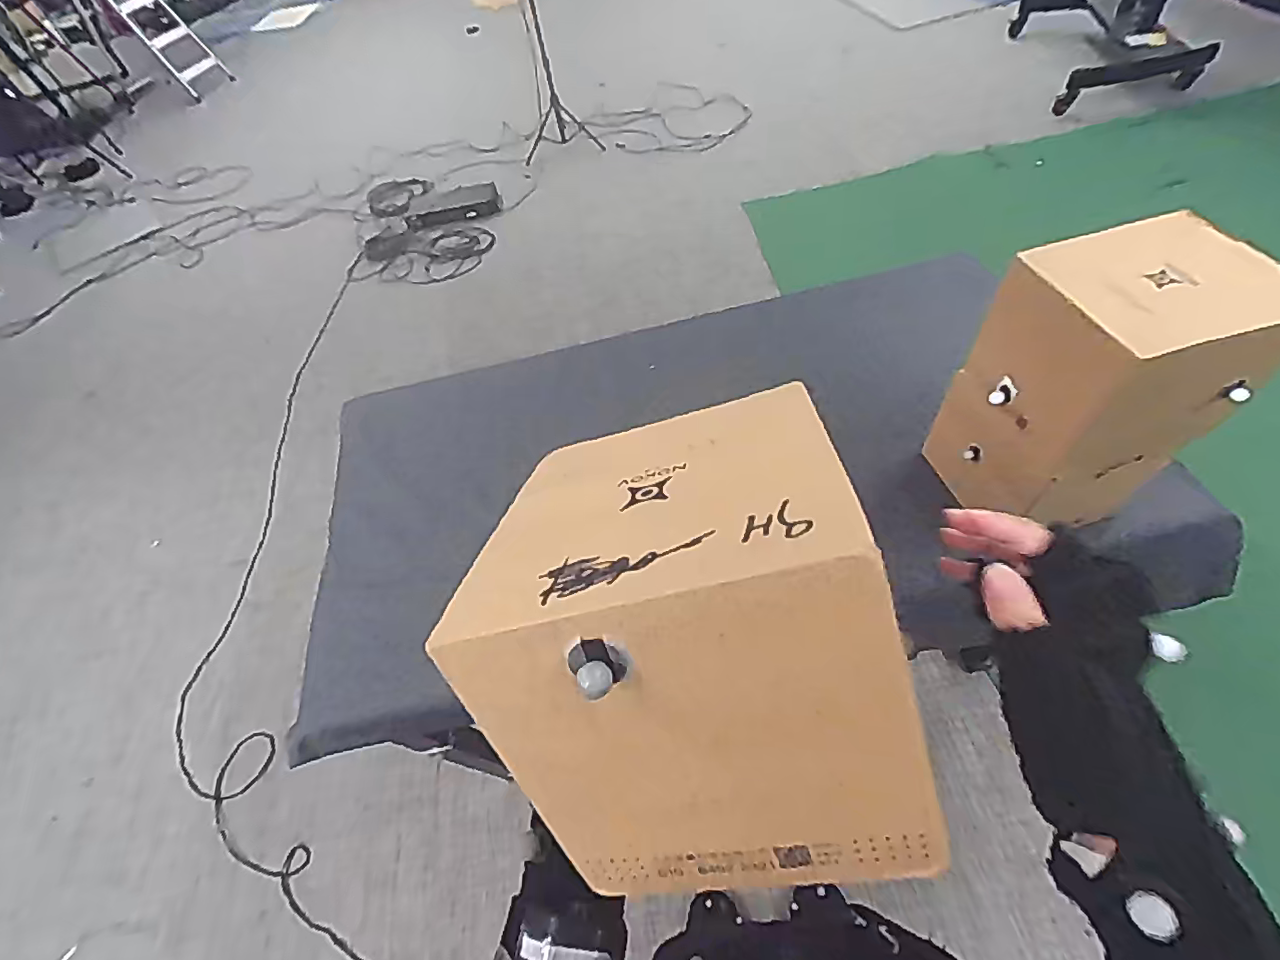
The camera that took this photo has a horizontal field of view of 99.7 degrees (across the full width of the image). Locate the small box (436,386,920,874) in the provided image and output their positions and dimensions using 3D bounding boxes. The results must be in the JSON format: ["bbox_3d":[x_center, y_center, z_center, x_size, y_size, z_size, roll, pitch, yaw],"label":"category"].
[{"bbox_3d":[0.032,0.071,0.297,0.168,0.176,0.179,-17,22,16],"label":"small box"}]

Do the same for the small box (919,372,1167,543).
[{"bbox_3d":[0.495,-0.038,0.693,0.168,0.176,0.179,-16,53,-2],"label":"small box"}]

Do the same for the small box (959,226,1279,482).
[{"bbox_3d":[0.475,-0.123,0.557,0.179,0.176,0.168,-15,52,0],"label":"small box"}]
